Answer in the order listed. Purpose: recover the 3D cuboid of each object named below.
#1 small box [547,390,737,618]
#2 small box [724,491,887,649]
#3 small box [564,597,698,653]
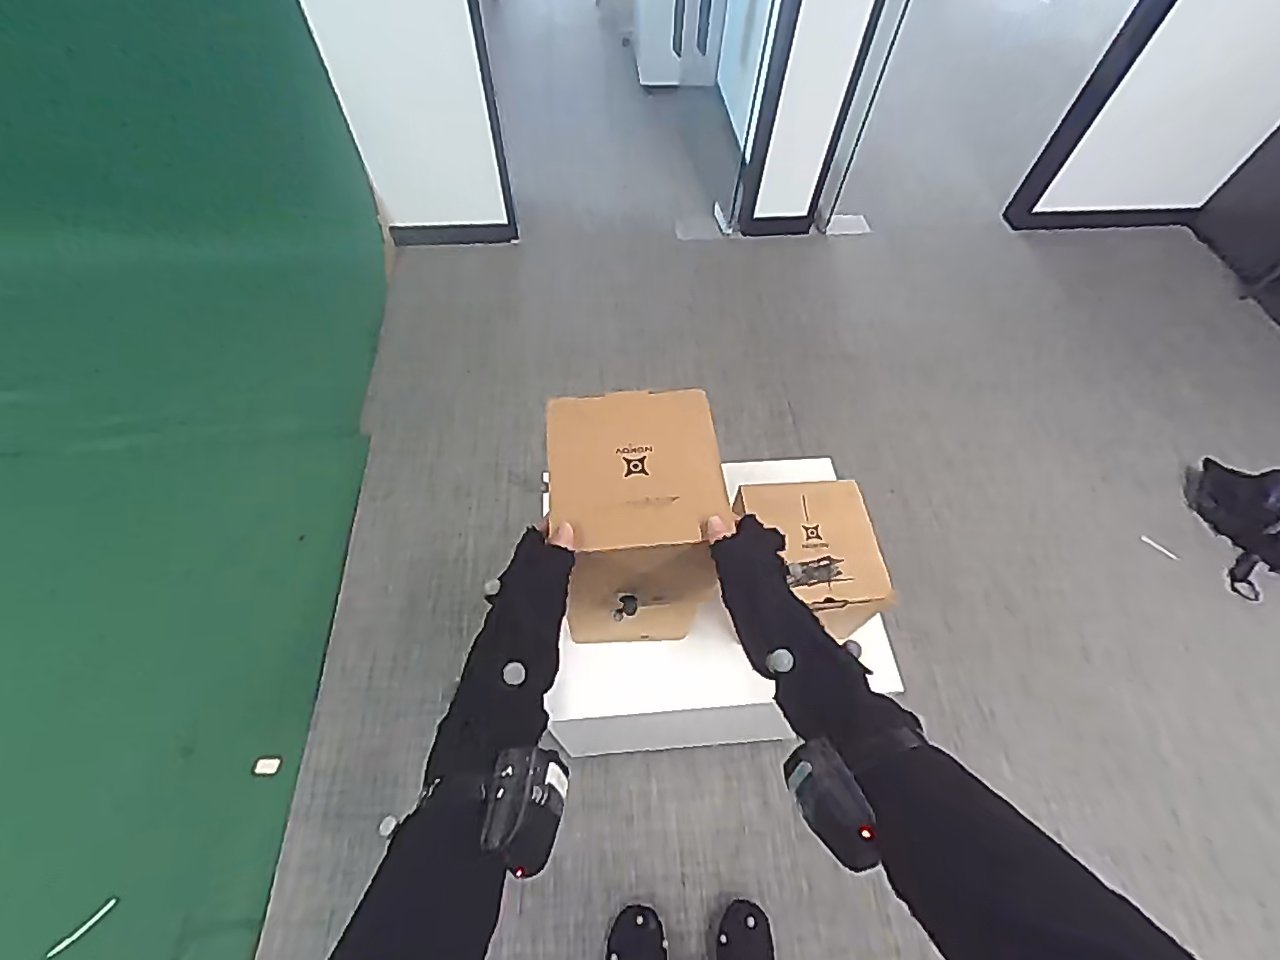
[{"bbox_3d":[-0.008,0.029,0.570,0.168,0.176,0.179,-5,59,-5],"label":"small box"},{"bbox_3d":[0.218,0.135,0.770,0.168,0.176,0.179,-2,56,-3],"label":"small box"},{"bbox_3d":[-0.015,0.132,0.764,0.168,0.176,0.179,-1,56,-2],"label":"small box"}]
